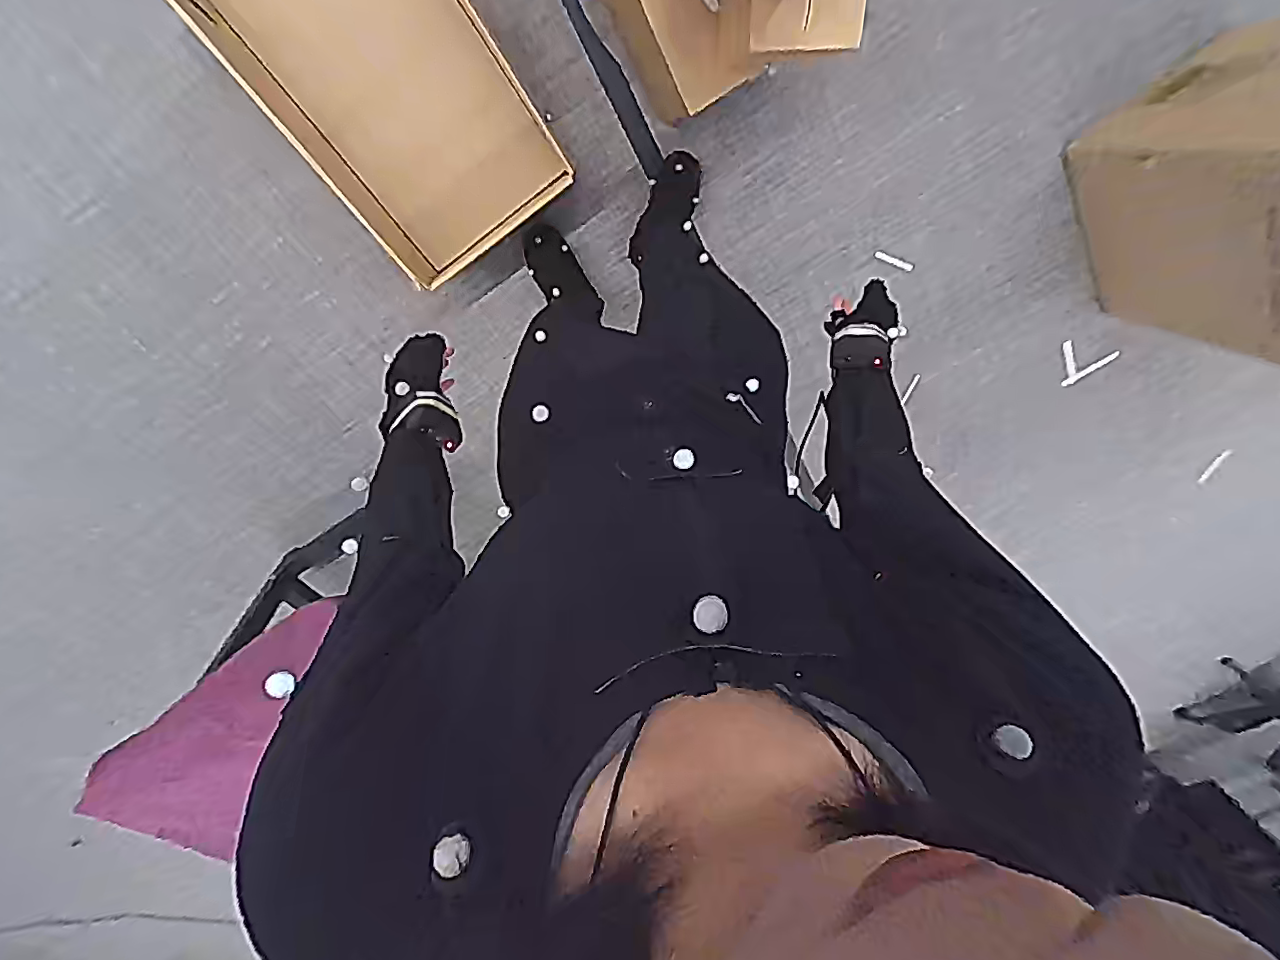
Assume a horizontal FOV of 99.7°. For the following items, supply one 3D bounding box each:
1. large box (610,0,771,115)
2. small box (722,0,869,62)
[{"bbox_3d":[0.104,-0.923,0.926,0.320,0.320,0.408,-30,122,11],"label":"large box"},{"bbox_3d":[0.220,-0.723,0.777,0.168,0.176,0.179,-6,123,-5],"label":"small box"}]
